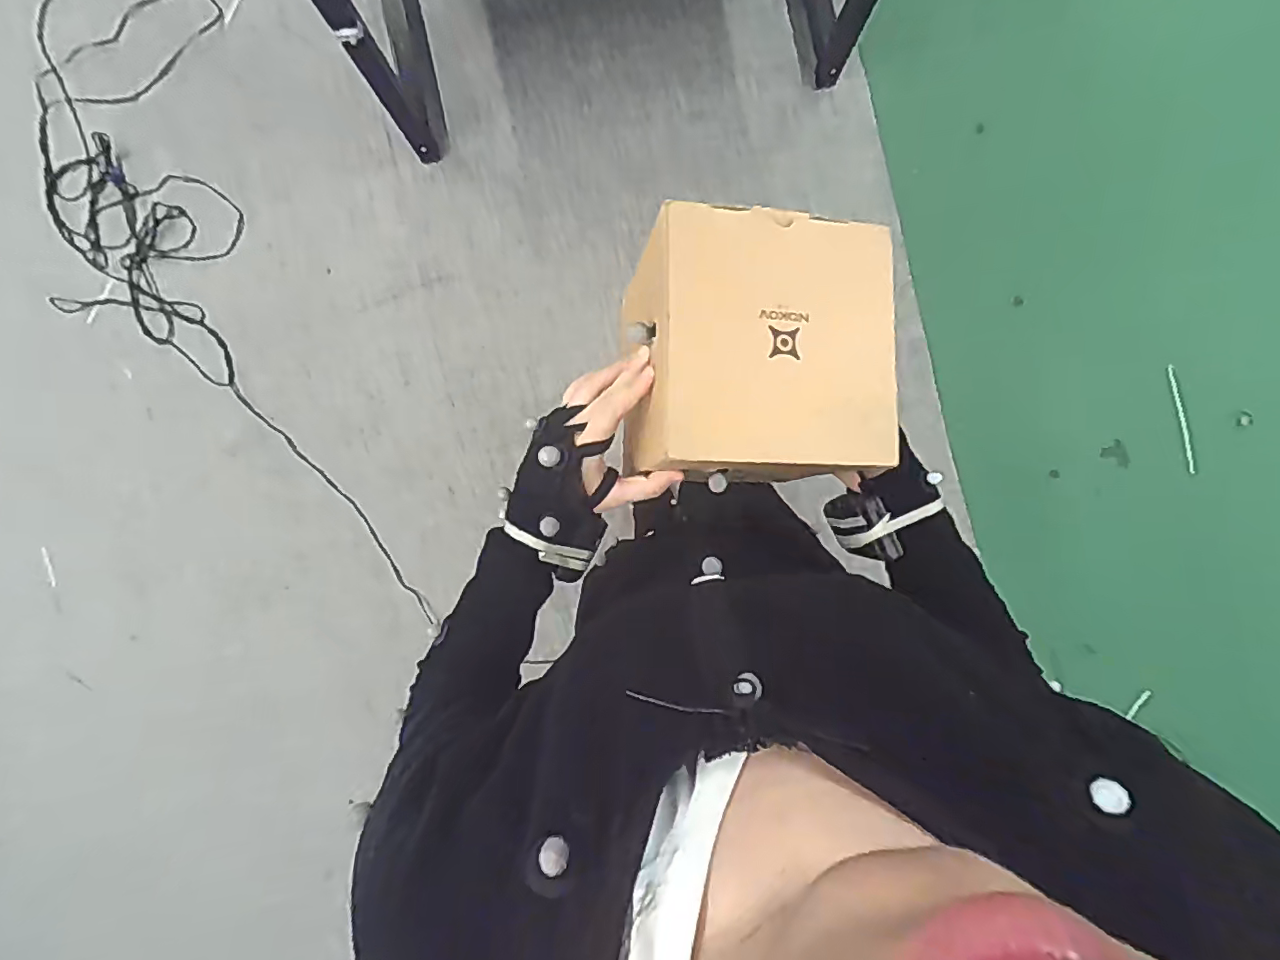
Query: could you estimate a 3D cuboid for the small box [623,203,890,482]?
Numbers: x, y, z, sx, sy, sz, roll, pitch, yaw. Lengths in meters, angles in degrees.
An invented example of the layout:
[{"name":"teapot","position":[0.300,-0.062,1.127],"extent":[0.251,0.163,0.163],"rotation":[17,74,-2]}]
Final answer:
[{"name":"small box","position":[0.080,-0.091,0.446],"extent":[0.168,0.176,0.179],"rotation":[1,84,-10]}]
